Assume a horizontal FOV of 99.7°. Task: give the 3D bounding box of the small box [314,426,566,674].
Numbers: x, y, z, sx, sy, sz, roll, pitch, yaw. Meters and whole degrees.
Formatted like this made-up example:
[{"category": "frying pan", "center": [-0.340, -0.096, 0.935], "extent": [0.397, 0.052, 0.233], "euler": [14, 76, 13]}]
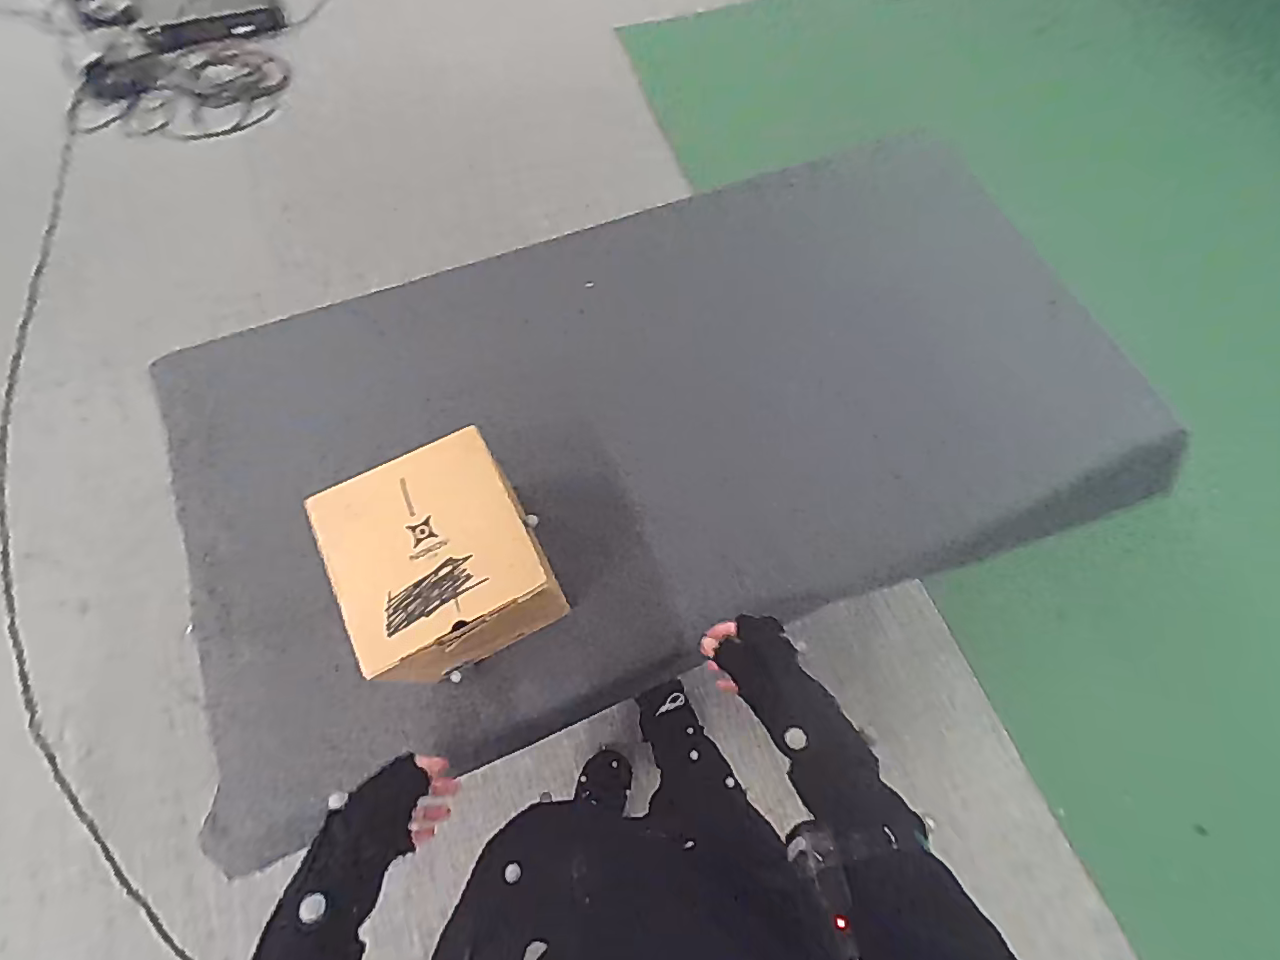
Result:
[{"category": "small box", "center": [-0.188, 0.081, 0.554], "extent": [0.168, 0.176, 0.179], "euler": [-26, 70, -11]}]
